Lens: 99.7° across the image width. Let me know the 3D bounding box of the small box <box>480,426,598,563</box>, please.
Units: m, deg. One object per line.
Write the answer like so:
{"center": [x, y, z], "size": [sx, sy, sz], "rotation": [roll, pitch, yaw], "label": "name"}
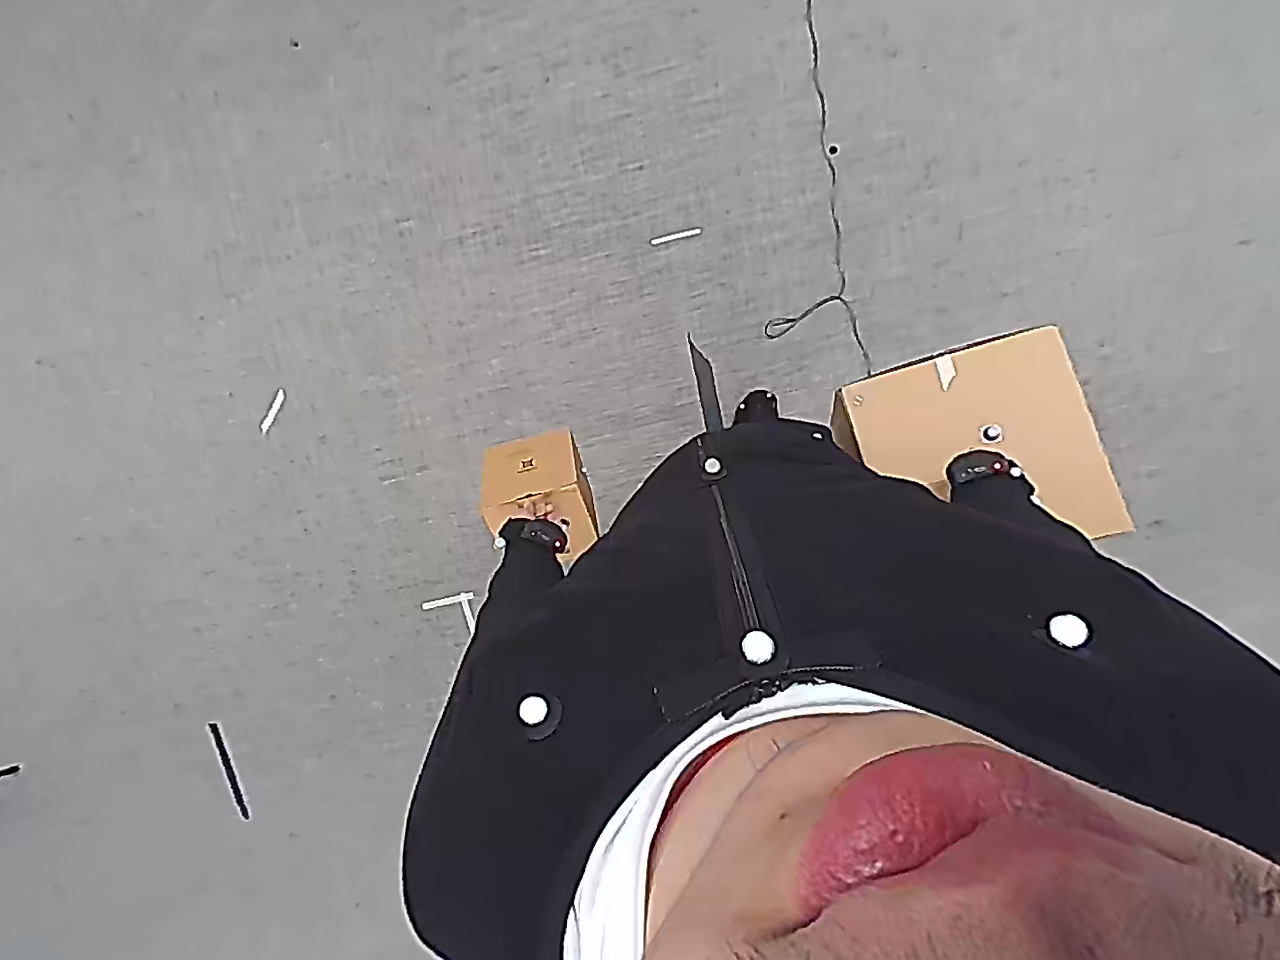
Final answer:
{"center": [-0.181, 0.032, 0.996], "size": [0.168, 0.179, 0.176], "rotation": [-15, 130, -1], "label": "small box"}
